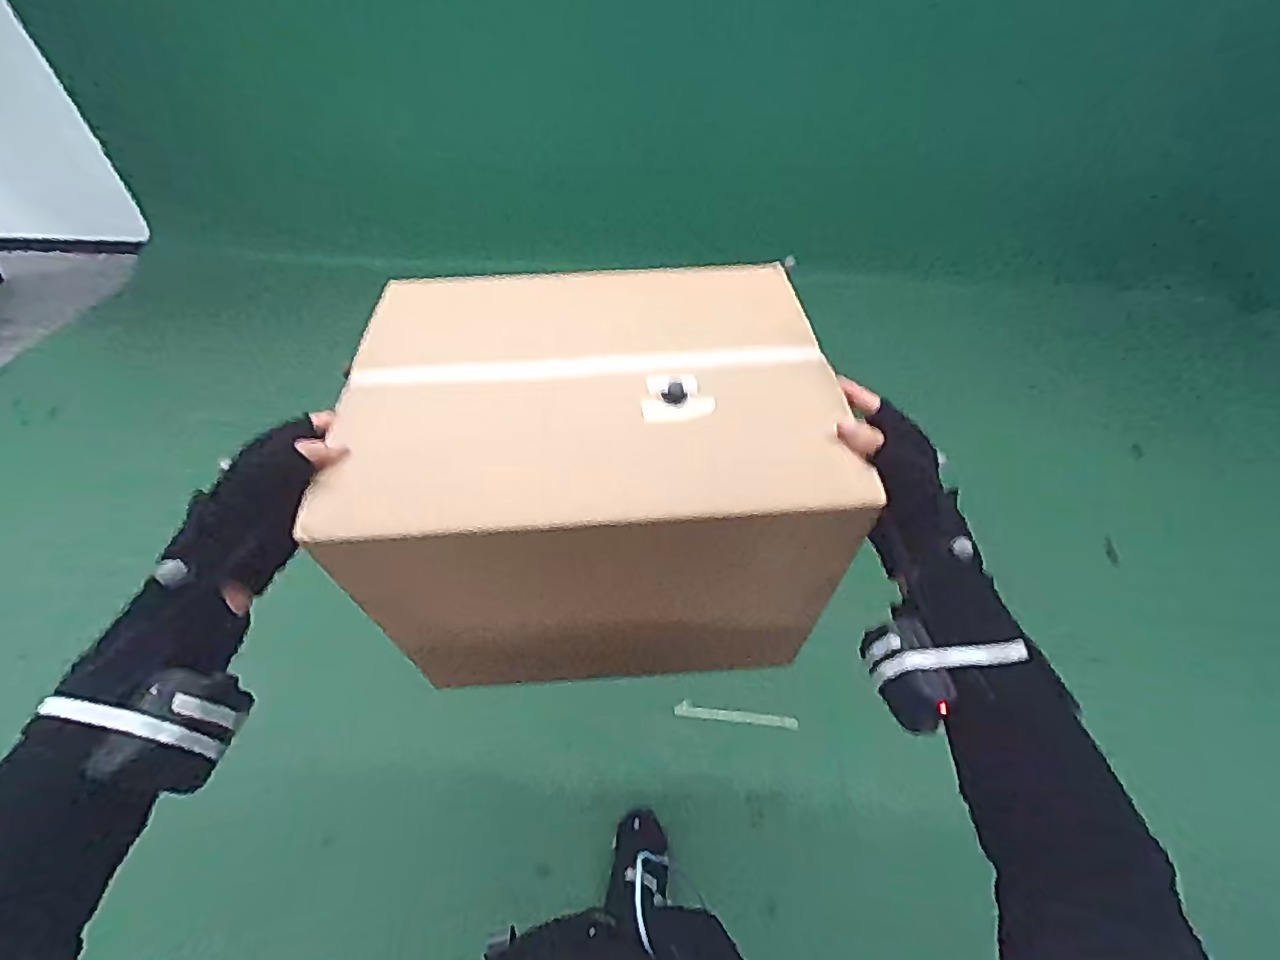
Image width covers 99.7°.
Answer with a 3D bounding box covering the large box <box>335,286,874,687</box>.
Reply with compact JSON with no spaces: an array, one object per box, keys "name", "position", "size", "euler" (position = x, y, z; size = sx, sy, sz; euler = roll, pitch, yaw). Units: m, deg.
[{"name":"large box","position":[-0.035,0.011,0.599],"size":[0.408,0.320,0.320],"euler":[-3,51,-3]}]
